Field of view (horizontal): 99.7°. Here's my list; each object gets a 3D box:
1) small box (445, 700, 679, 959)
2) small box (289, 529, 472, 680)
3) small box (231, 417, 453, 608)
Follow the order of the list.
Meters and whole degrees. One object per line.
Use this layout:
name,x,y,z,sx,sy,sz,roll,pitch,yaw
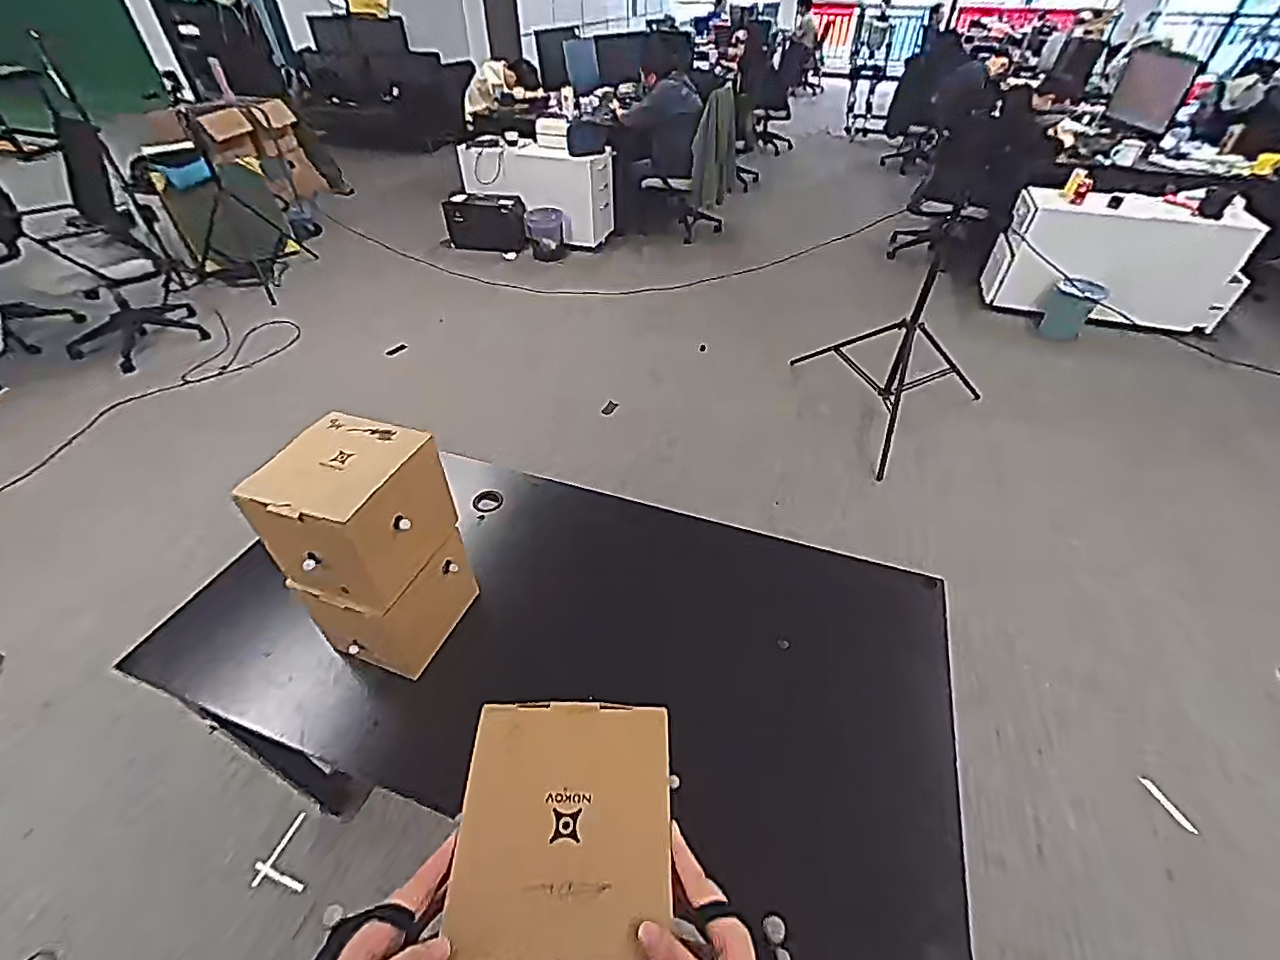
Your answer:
small box,-0.057,0.315,0.487,0.168,0.176,0.179,0,50,-2
small box,-0.380,0.170,0.832,0.168,0.176,0.179,15,45,15
small box,-0.377,0.044,0.727,0.168,0.176,0.179,13,45,12
